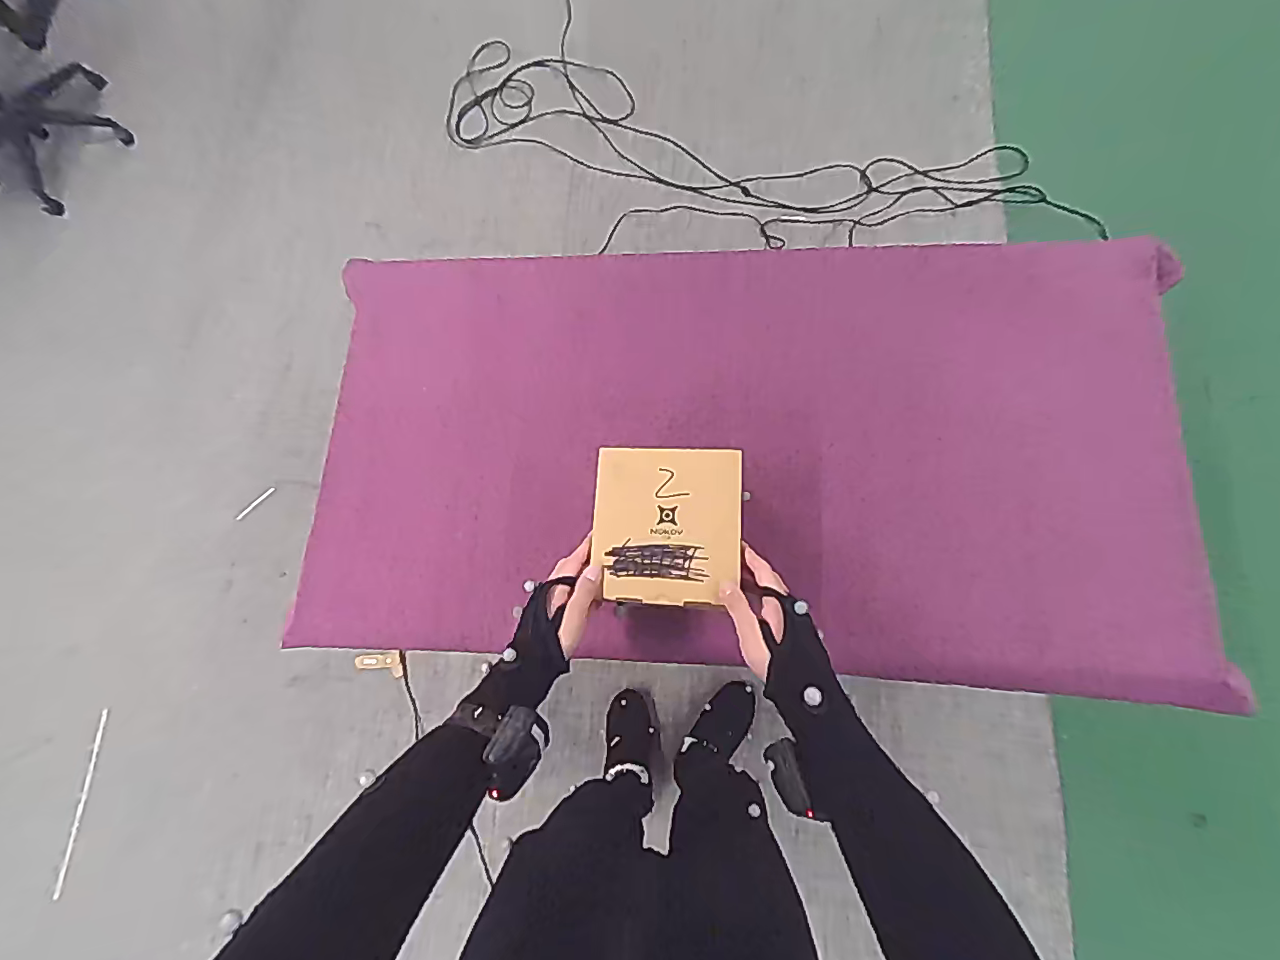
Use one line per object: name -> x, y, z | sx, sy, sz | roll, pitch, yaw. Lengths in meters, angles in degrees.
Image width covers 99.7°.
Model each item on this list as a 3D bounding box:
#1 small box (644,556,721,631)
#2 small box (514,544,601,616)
small box -> 0.112, 0.286, 1.359 | 0.179, 0.176, 0.168 | 2, 75, 9
small box -> -0.209, 0.264, 1.408 | 0.179, 0.176, 0.168 | 1, 76, 8
